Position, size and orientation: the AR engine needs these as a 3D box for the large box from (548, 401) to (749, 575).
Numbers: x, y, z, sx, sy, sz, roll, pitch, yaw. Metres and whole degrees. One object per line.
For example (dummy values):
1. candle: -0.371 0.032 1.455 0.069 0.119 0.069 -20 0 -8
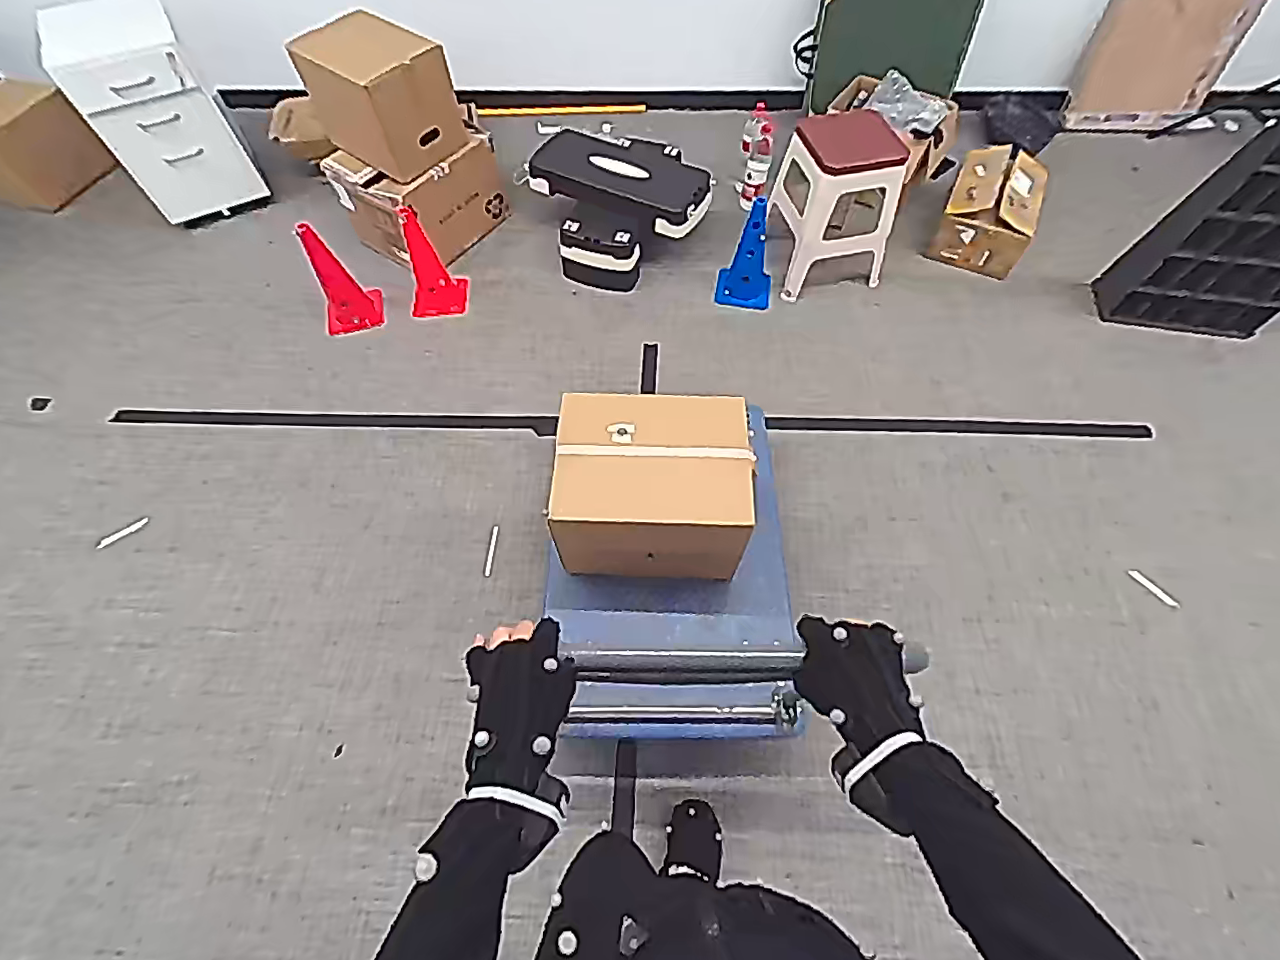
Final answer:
1. large box: 0.024 0.029 1.262 0.408 0.320 0.320 1 60 2
